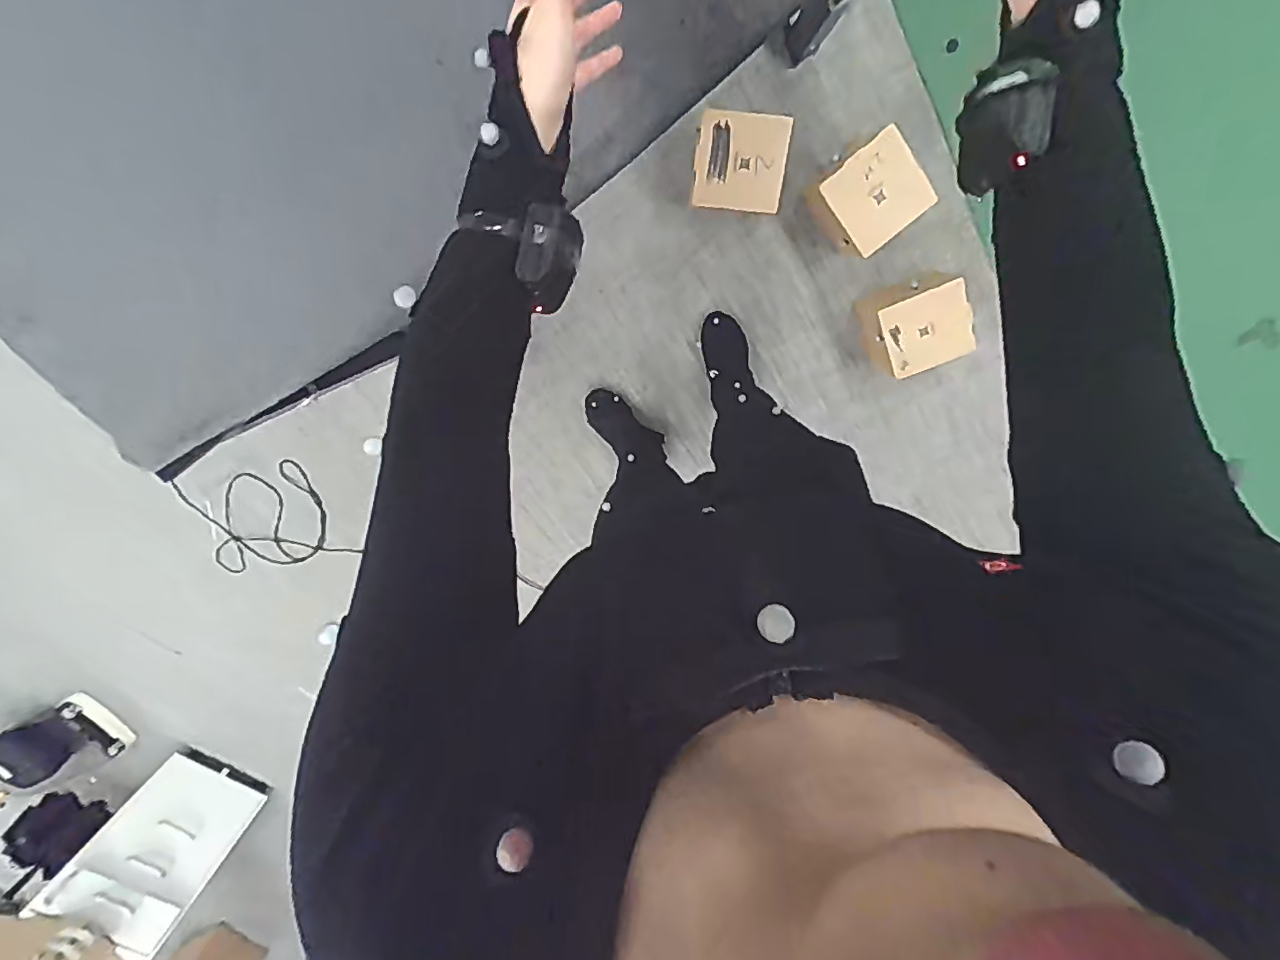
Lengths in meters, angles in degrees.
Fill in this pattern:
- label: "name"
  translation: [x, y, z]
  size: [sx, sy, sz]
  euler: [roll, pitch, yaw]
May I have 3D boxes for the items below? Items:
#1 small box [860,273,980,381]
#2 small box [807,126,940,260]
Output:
- label: "small box"
  translation: [0.623, -0.349, 1.215]
  size: [0.179, 0.176, 0.168]
  euler: [-20, 113, 14]
- label: "small box"
  translation: [0.473, -0.586, 1.118]
  size: [0.168, 0.176, 0.179]
  euler: [-37, 107, 19]
